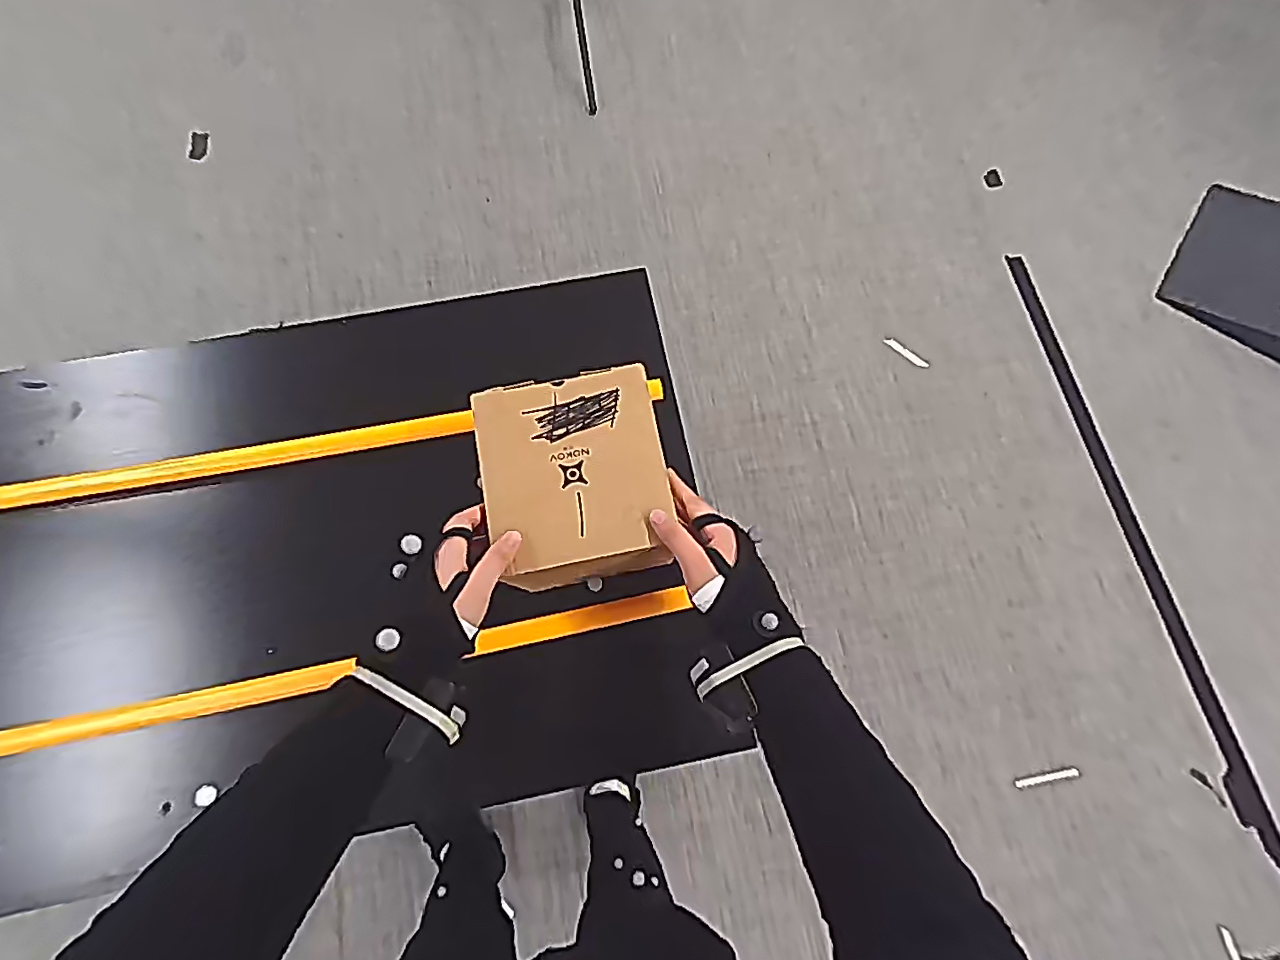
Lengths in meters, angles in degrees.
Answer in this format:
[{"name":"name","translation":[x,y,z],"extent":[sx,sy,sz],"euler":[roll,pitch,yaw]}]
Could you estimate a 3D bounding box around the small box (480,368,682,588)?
[{"name":"small box","translation":[-0.059,0.008,0.572],"extent":[0.168,0.176,0.179],"euler":[-11,75,-3]}]
